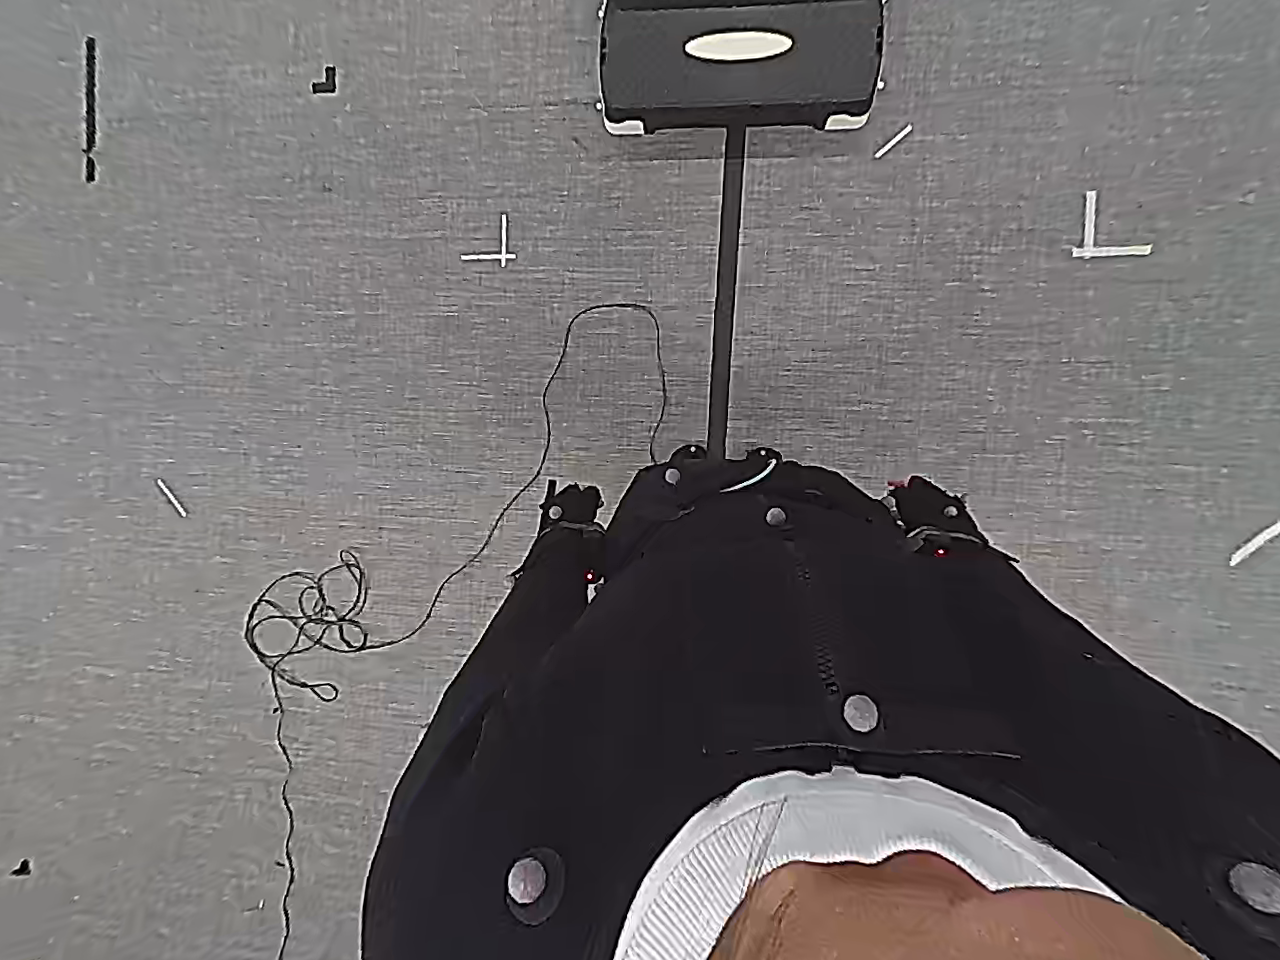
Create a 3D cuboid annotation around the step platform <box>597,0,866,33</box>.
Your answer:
[{"bbox_3d":[0.220,-1.279,1.261,0.684,0.204,0.286,1,94,5],"label":"step platform"}]
